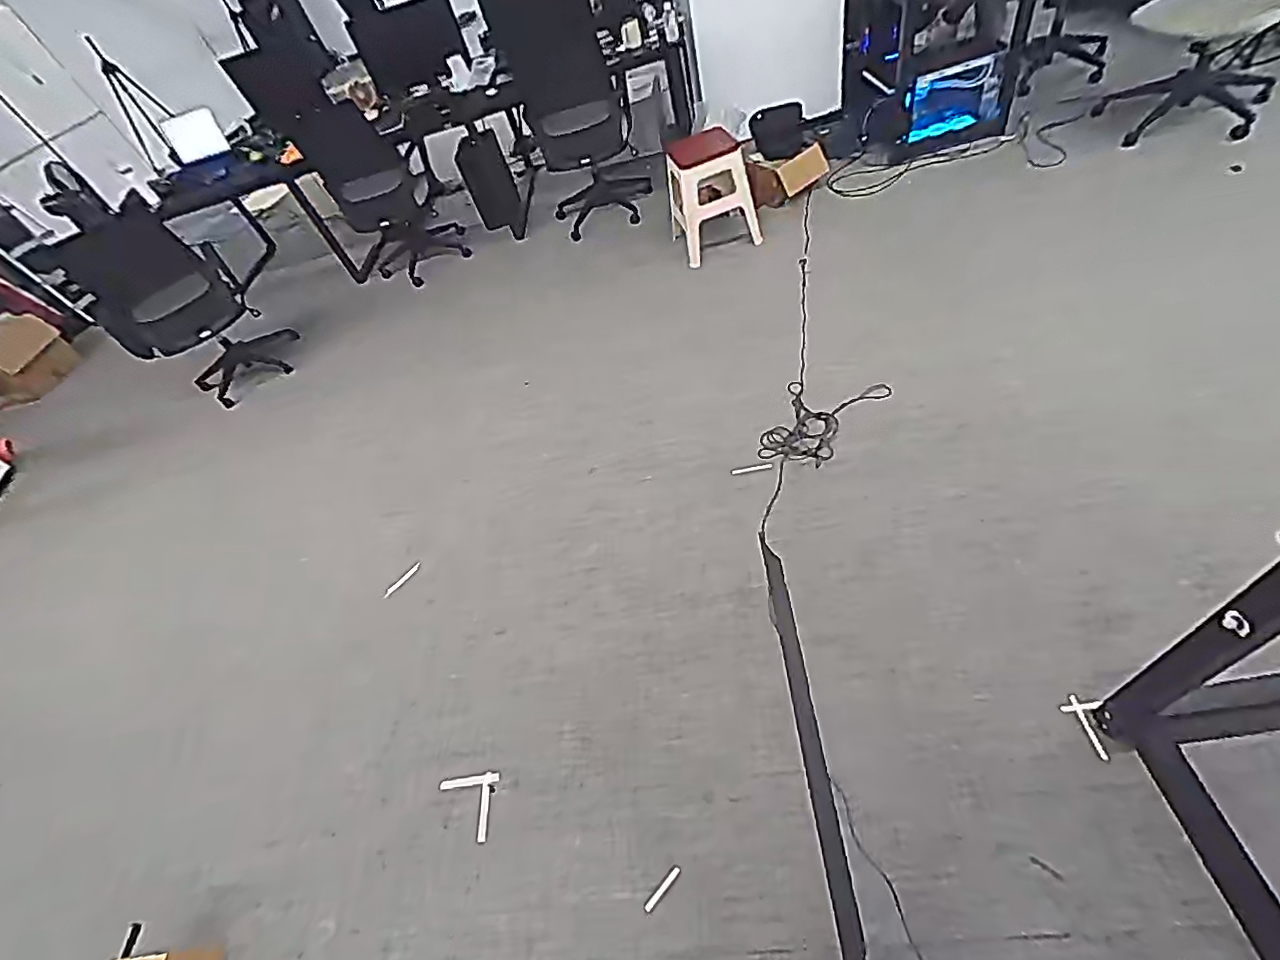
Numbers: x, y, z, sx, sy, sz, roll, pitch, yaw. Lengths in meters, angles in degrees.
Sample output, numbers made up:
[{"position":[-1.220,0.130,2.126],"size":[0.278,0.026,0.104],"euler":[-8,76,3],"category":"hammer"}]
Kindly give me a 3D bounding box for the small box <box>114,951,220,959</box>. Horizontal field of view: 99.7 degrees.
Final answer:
[{"position":[-1.144,1.218,1.261],"size":[0.179,0.176,0.168],"euler":[-13,49,8],"category":"small box"}]
